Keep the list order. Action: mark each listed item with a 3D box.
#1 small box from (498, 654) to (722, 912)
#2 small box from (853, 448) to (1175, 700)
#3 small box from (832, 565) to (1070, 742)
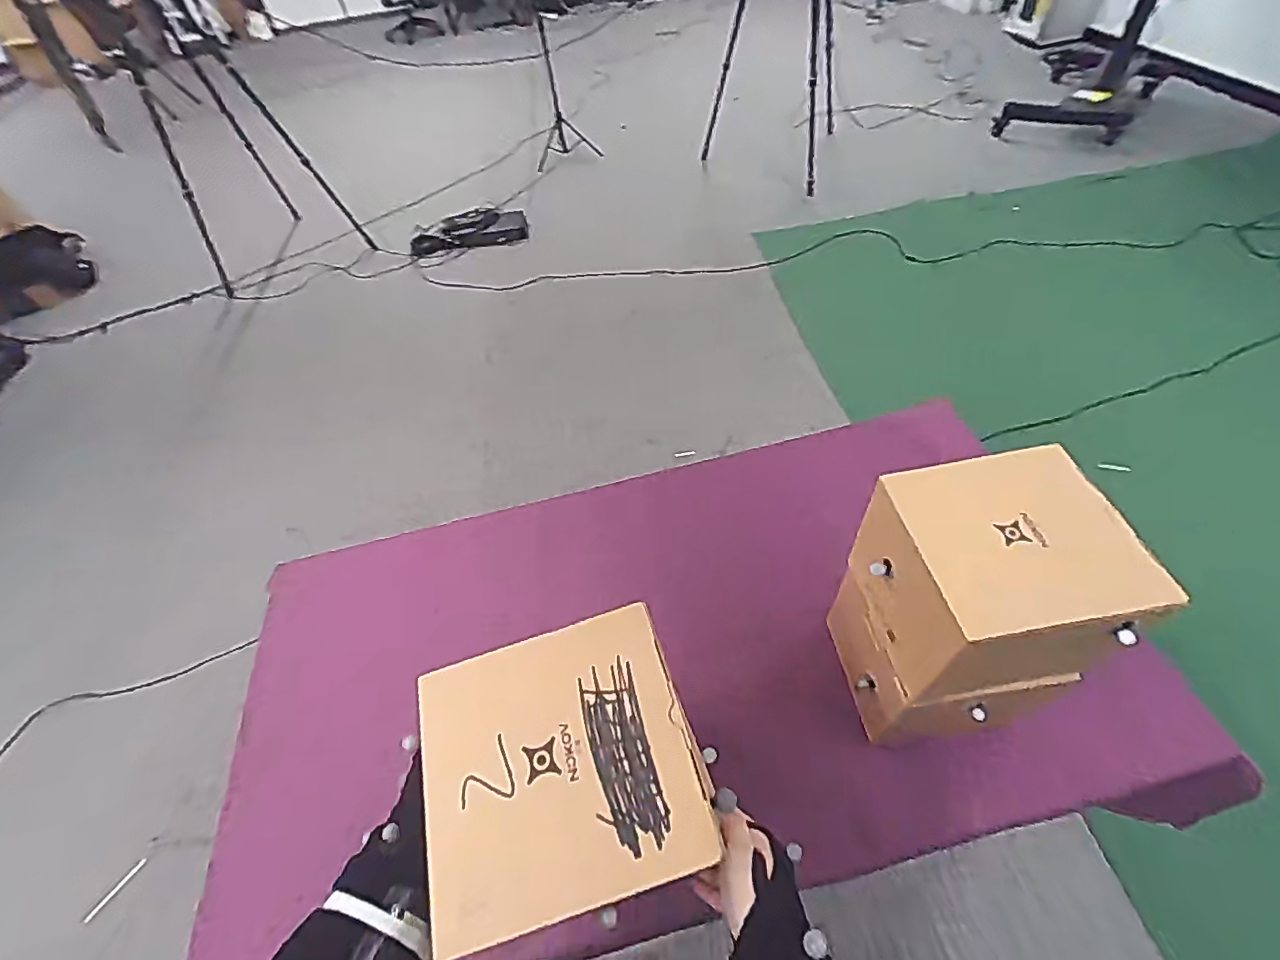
[{"bbox_3d":[-0.023,0.310,0.558,0.179,0.176,0.168,-20,56,-5],"label":"small box"},{"bbox_3d":[0.324,0.097,0.523,0.179,0.176,0.168,-10,52,-1],"label":"small box"},{"bbox_3d":[0.343,0.200,0.647,0.179,0.176,0.168,-9,52,1],"label":"small box"}]
